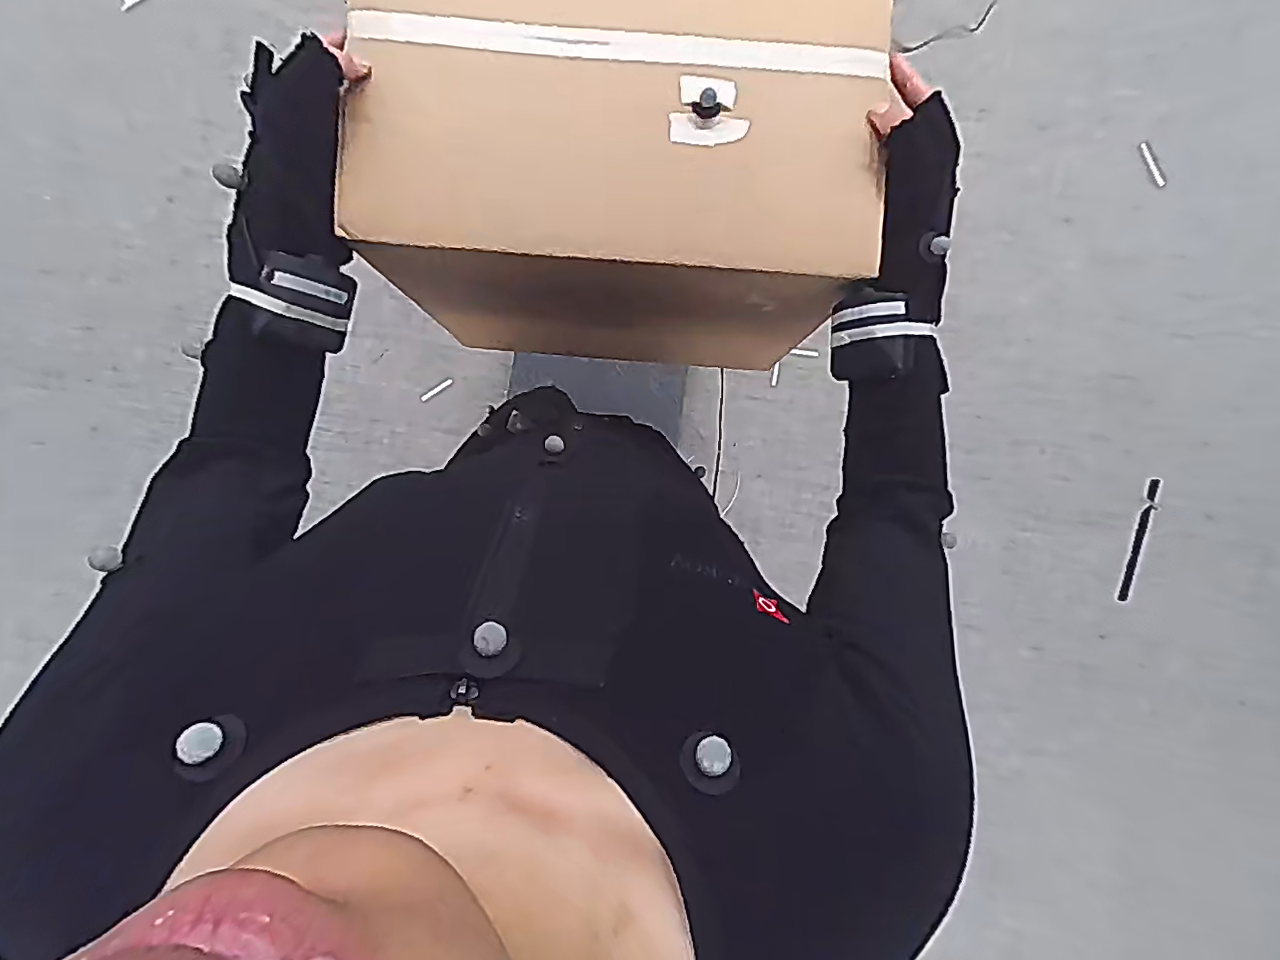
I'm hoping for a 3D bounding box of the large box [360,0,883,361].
[{"bbox_3d":[-0.015,-0.322,0.570,0.408,0.320,0.320,4,89,-2],"label":"large box"}]
